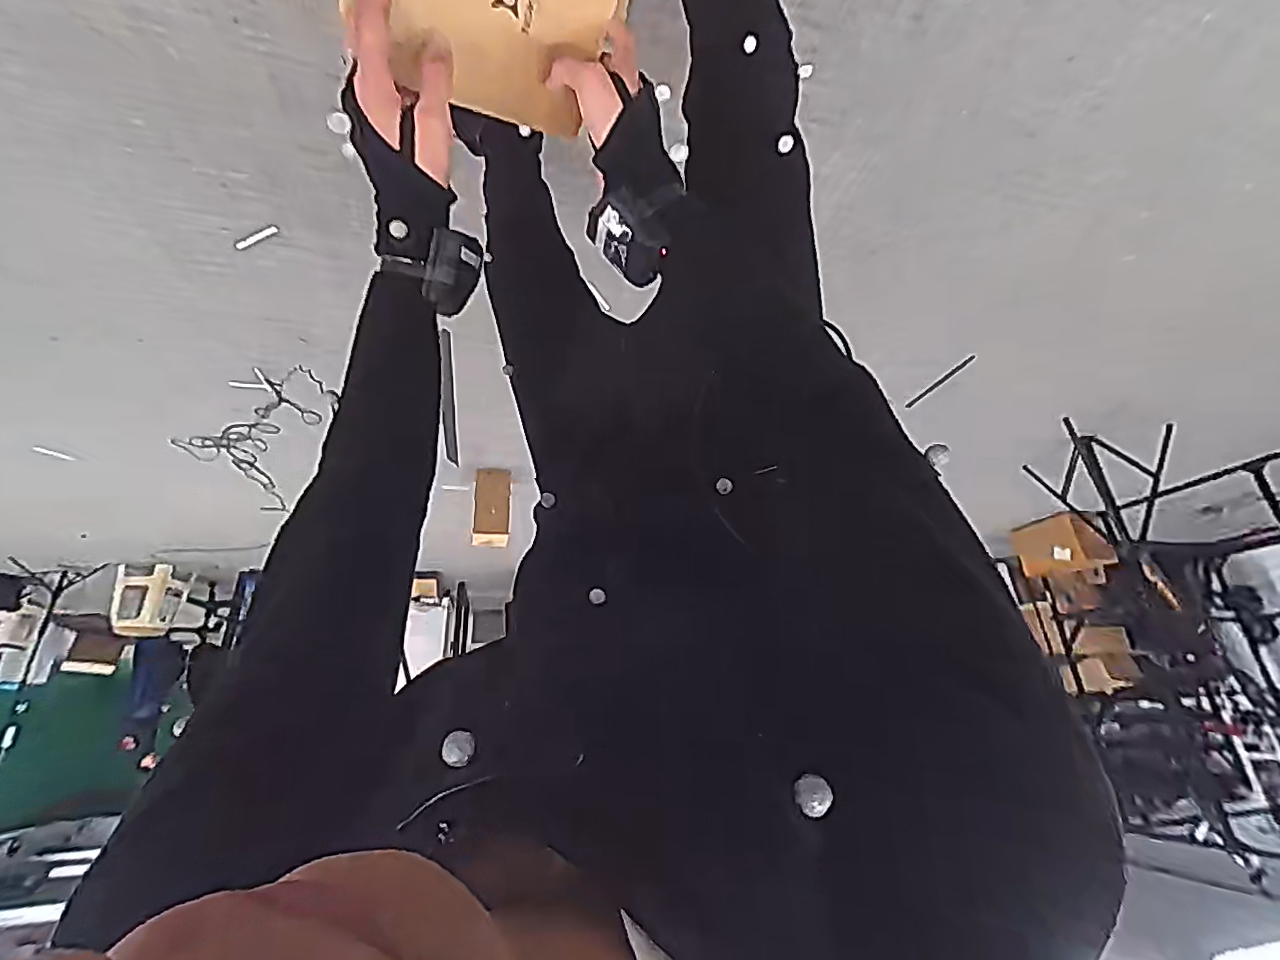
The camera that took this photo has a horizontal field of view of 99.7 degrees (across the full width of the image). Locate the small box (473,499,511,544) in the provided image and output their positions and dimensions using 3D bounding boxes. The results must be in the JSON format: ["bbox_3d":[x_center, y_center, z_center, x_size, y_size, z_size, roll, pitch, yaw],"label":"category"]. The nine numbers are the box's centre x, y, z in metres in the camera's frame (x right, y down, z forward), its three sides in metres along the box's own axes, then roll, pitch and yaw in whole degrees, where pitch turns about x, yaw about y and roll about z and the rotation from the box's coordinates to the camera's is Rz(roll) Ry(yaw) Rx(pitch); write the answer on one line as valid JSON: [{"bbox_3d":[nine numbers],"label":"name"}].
[{"bbox_3d":[-0.718,0.204,2.620,0.168,0.176,0.179,3,156,-16],"label":"small box"}]

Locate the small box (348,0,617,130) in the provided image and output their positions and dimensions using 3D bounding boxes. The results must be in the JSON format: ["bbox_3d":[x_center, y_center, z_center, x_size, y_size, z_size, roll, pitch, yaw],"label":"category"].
[{"bbox_3d":[-0.133,-0.435,0.448,0.179,0.176,0.168,-9,144,-38],"label":"small box"}]
